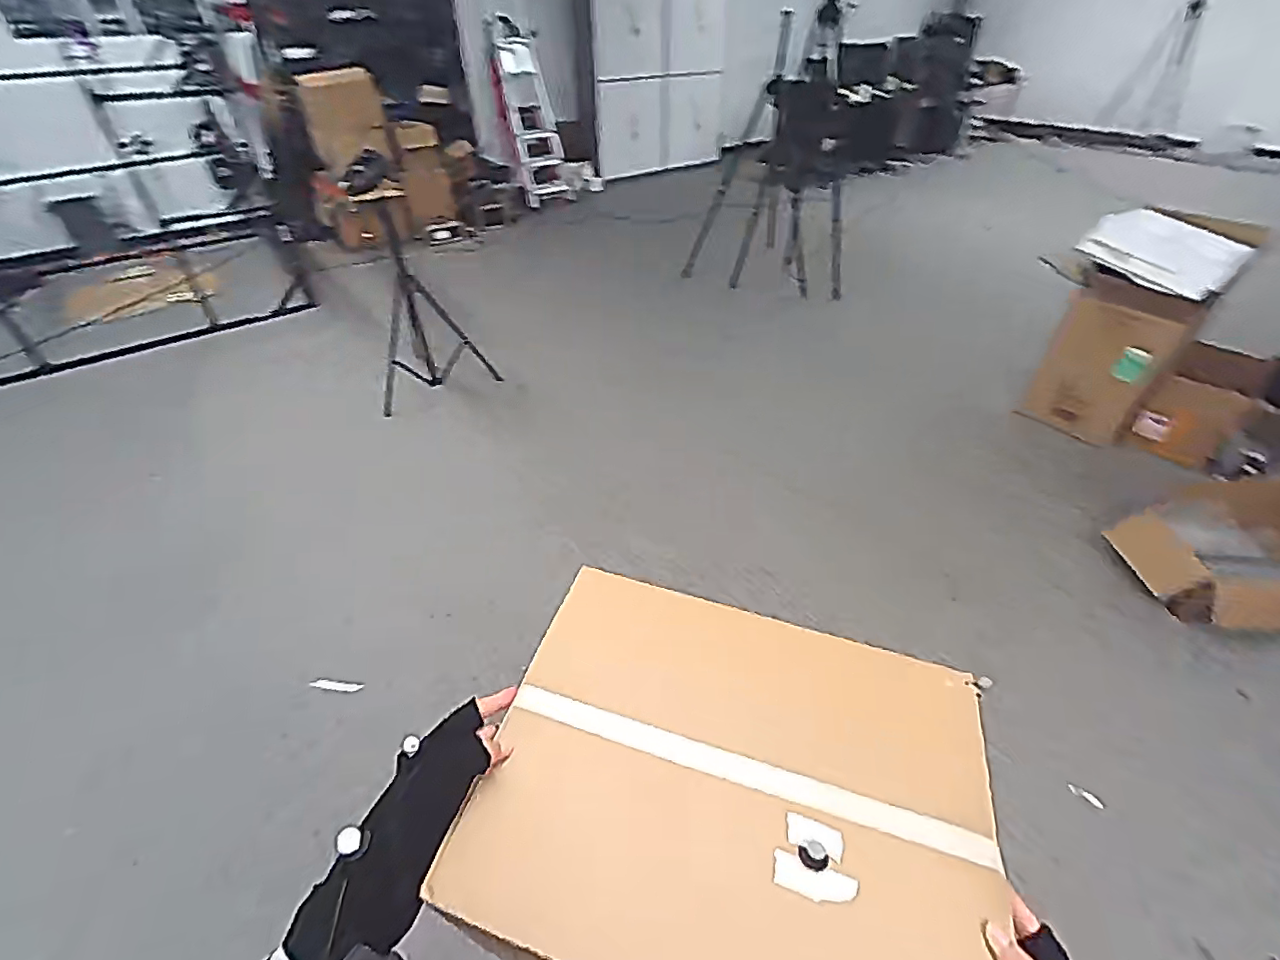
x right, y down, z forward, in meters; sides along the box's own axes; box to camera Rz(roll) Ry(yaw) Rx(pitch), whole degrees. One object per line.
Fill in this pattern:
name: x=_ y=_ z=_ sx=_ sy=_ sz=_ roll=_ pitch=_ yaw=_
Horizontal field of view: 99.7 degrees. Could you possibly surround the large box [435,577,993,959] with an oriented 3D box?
large box: x=0.072 y=0.355 z=0.565 sx=0.408 sy=0.320 sz=0.320 roll=13 pitch=44 yaw=12
